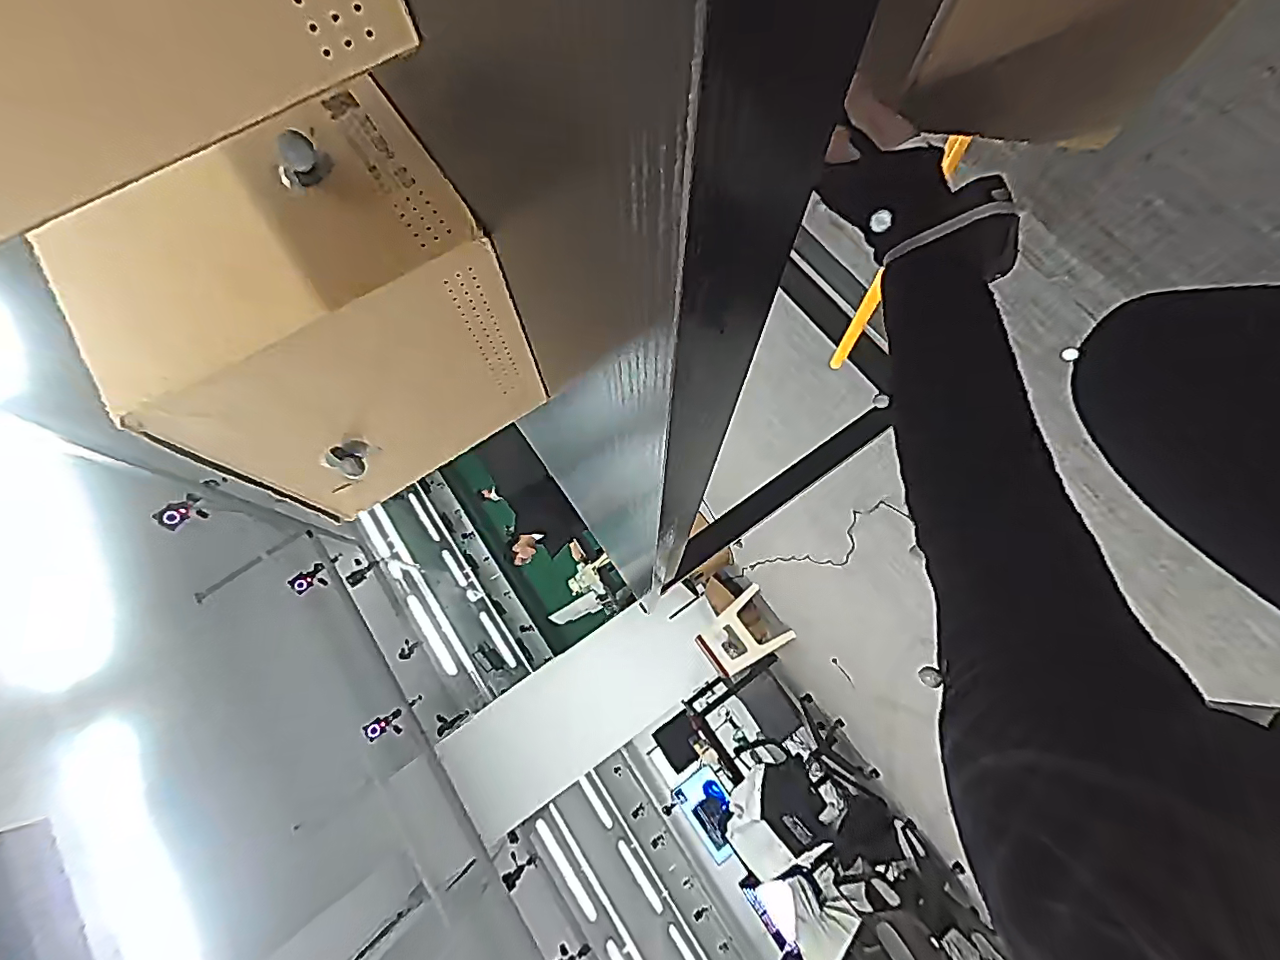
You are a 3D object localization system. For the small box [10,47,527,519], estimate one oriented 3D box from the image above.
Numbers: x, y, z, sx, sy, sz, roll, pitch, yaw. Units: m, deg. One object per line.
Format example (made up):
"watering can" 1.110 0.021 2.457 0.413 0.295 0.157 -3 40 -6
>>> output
"small box" -0.186 -0.103 0.327 0.168 0.176 0.179 54 170 13
